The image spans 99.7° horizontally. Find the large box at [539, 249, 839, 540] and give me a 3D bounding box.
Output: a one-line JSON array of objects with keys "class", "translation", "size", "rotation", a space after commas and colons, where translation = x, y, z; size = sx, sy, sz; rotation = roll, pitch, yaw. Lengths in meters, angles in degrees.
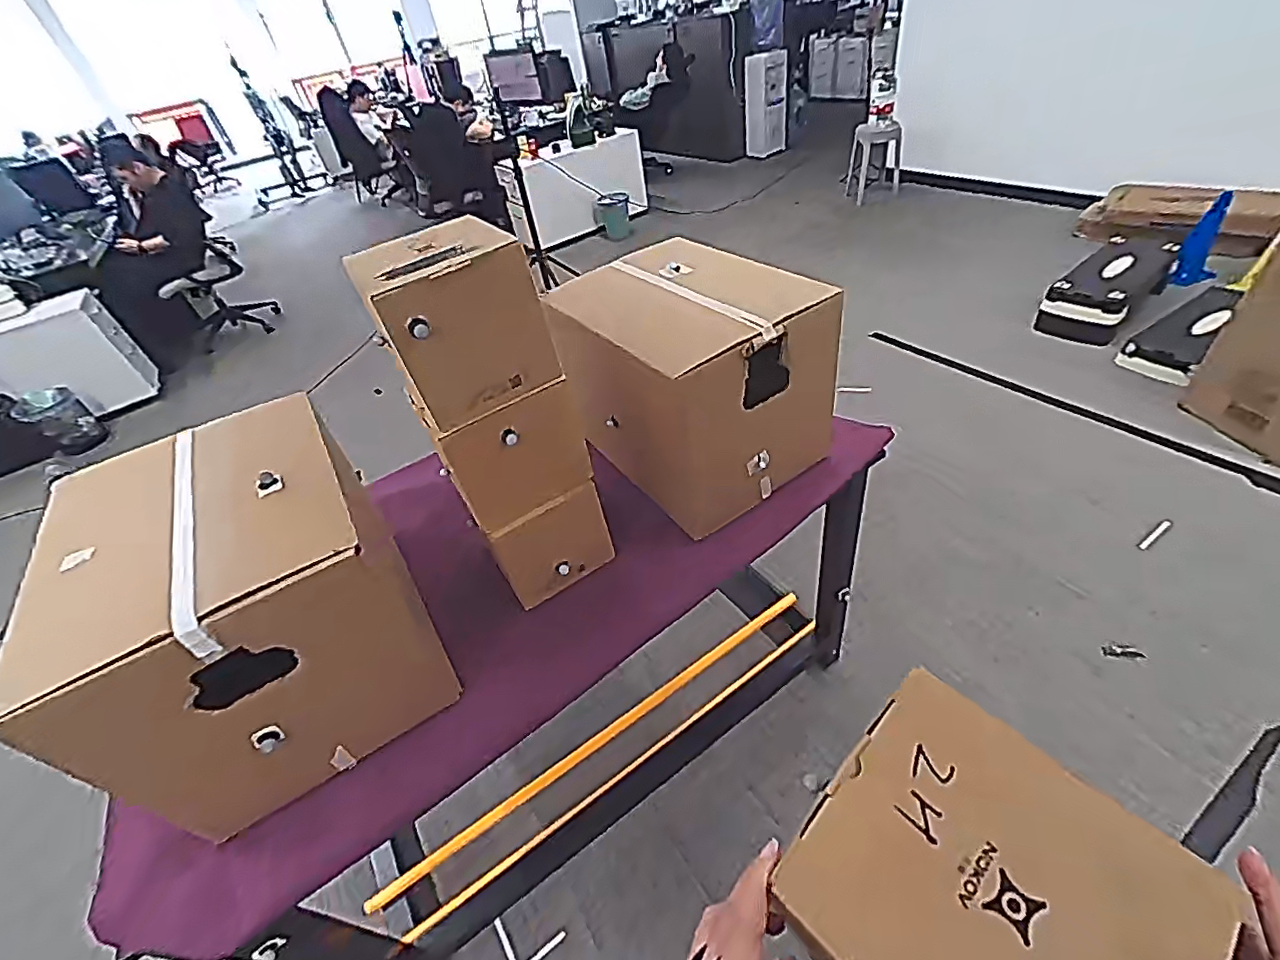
[{"class": "large box", "translation": [0.084, -0.168, 0.954], "size": [0.320, 0.320, 0.408], "rotation": [-30, 43, -19]}]
